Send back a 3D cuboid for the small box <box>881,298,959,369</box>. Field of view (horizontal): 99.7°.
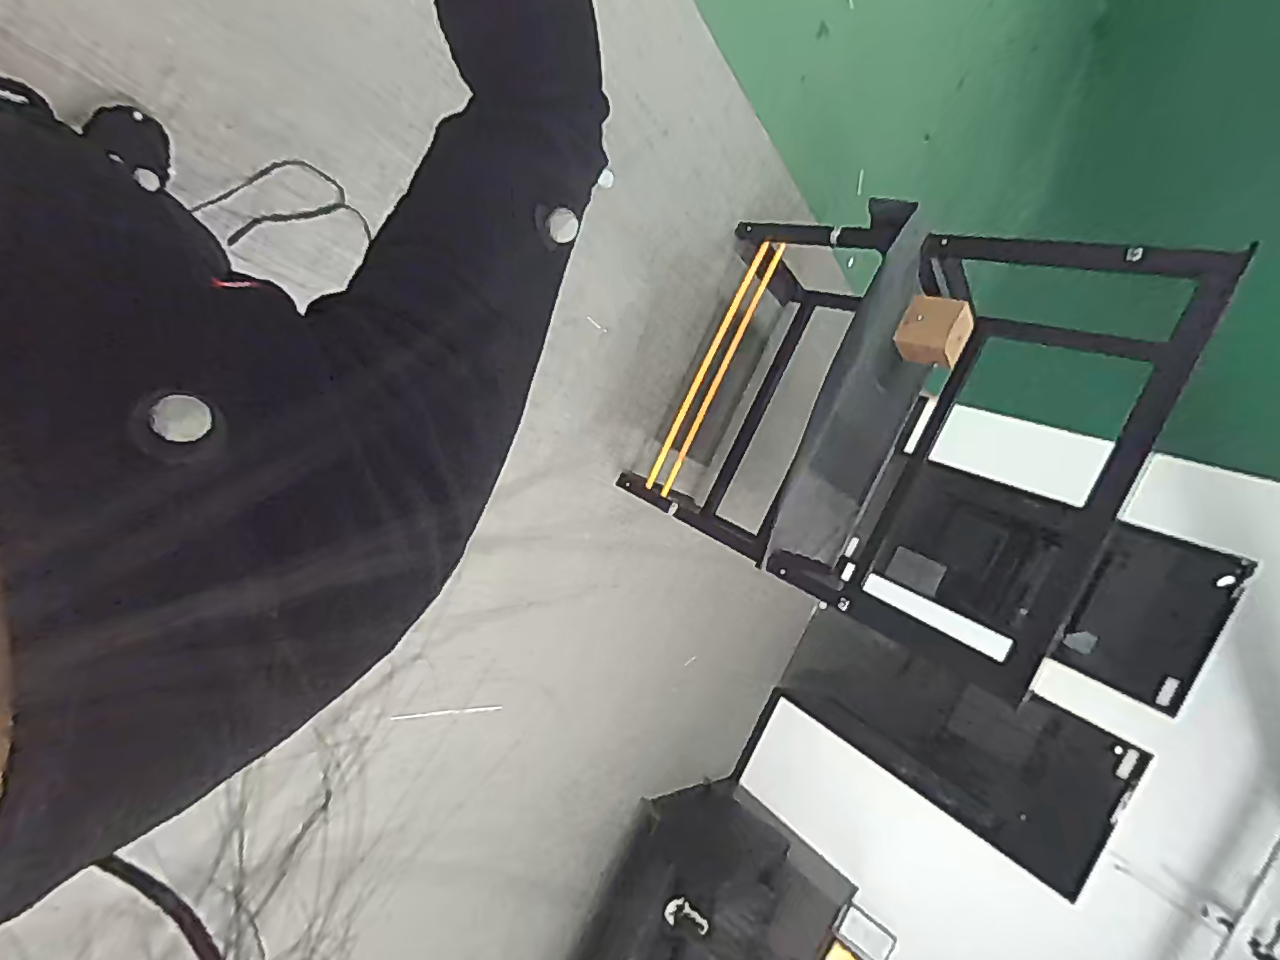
[{"bbox_3d":[0.946,-0.498,1.828,0.179,0.176,0.168,22,93,-50],"label":"small box"}]
